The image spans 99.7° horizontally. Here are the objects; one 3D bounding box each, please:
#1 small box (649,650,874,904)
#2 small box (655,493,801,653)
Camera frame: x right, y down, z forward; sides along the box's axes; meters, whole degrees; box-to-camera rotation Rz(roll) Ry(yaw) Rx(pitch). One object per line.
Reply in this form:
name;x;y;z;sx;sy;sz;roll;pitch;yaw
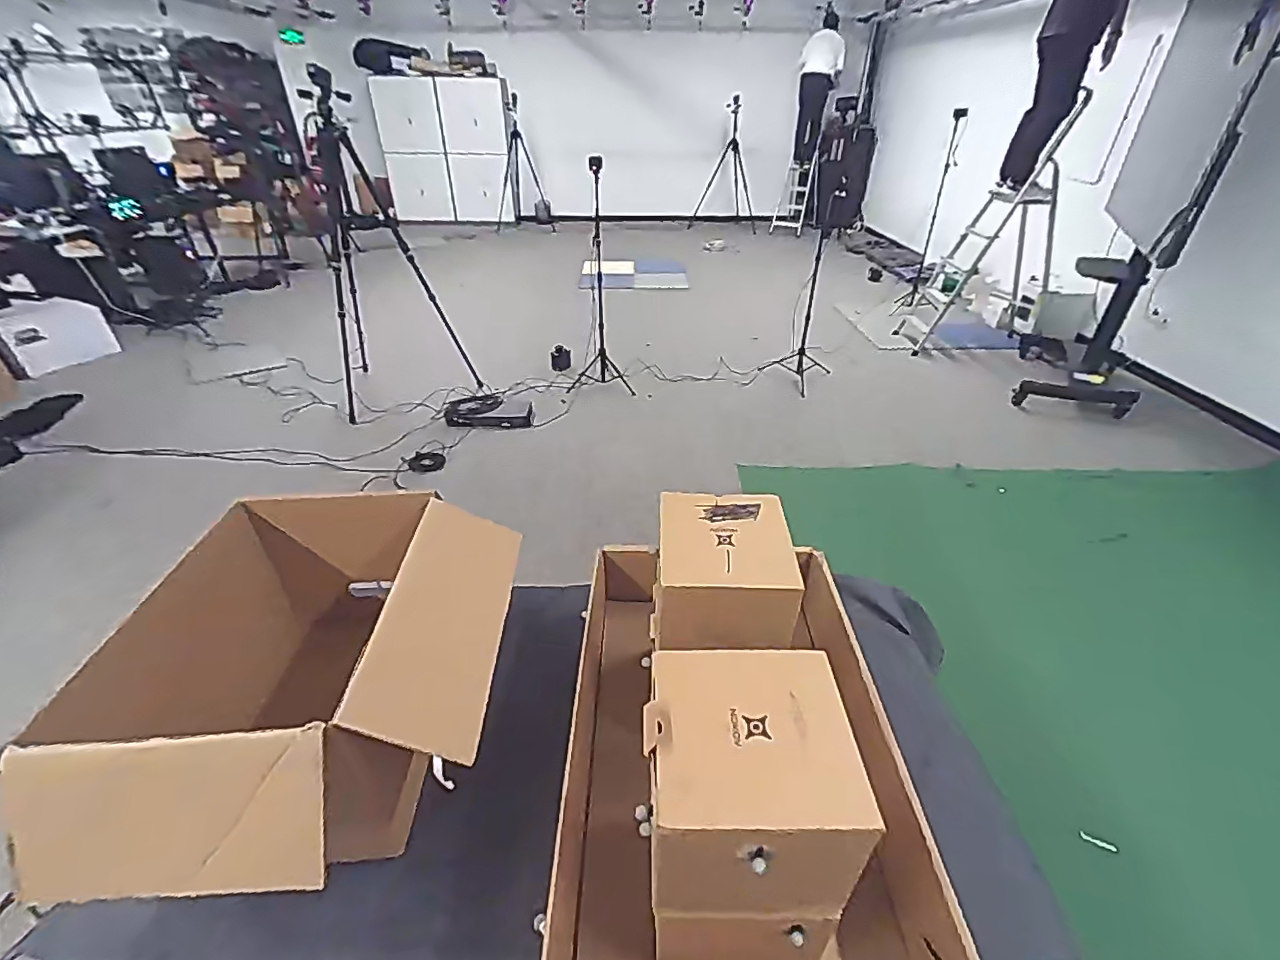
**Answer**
small box;0.097;0.288;0.529;0.179;0.176;0.168;1;35;-1
small box;0.106;0.138;0.734;0.168;0.176;0.179;2;38;1
